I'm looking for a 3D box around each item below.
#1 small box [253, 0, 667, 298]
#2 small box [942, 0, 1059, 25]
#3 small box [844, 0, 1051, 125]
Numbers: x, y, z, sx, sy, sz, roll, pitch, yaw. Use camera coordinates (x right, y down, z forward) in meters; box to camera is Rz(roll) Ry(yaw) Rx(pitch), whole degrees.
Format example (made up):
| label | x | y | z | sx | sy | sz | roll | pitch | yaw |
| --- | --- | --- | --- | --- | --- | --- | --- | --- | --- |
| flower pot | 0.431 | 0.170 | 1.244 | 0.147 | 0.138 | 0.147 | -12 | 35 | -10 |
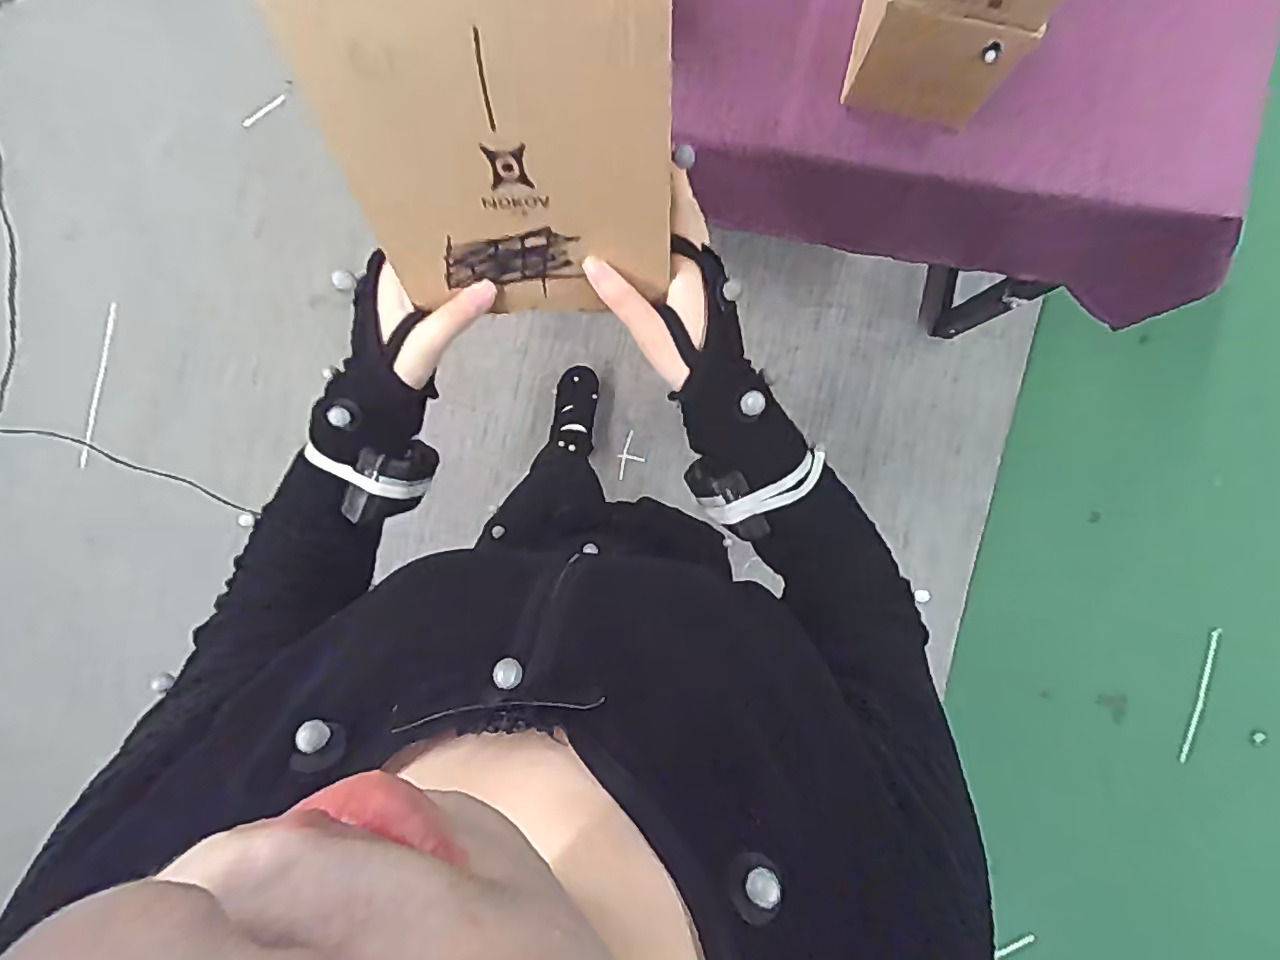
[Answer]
| label | x | y | z | sx | sy | sz | roll | pitch | yaw |
| --- | --- | --- | --- | --- | --- | --- | --- | --- | --- |
| small box | -0.069 | -0.229 | 0.310 | 0.168 | 0.179 | 0.176 | 0 | 60 | 3 |
| small box | 0.368 | -0.580 | 0.498 | 0.168 | 0.176 | 0.179 | 15 | 91 | 1 |
| small box | 0.373 | -0.577 | 0.663 | 0.179 | 0.176 | 0.168 | 13 | 91 | 2 |
